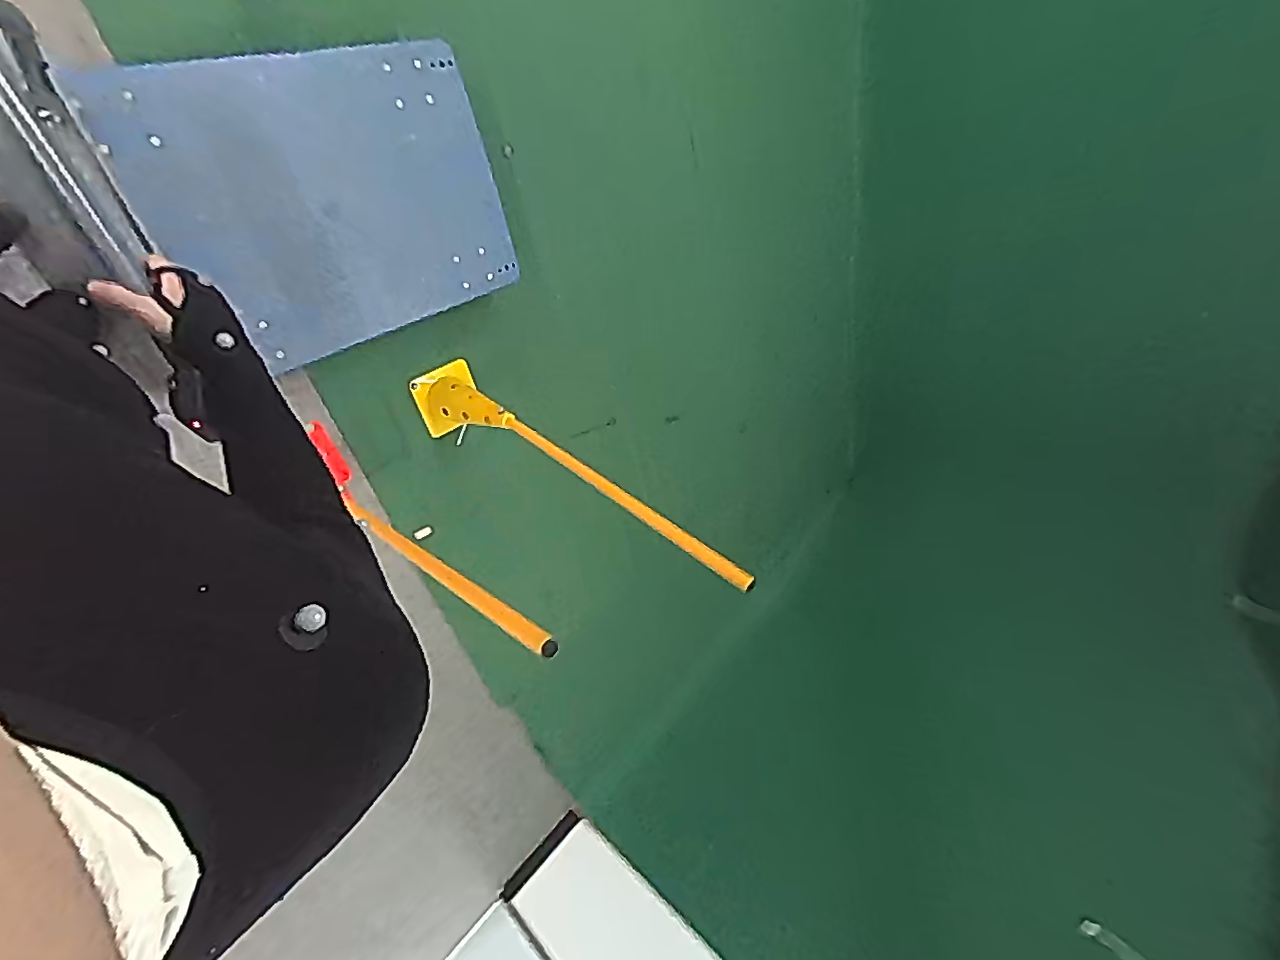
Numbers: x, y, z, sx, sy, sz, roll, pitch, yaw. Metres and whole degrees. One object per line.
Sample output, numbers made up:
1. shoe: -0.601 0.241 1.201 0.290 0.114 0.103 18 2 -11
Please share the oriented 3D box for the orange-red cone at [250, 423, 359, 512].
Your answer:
1. orange-red cone: -0.788 0.009 1.353 0.199 0.360 0.198 -38 131 -32
